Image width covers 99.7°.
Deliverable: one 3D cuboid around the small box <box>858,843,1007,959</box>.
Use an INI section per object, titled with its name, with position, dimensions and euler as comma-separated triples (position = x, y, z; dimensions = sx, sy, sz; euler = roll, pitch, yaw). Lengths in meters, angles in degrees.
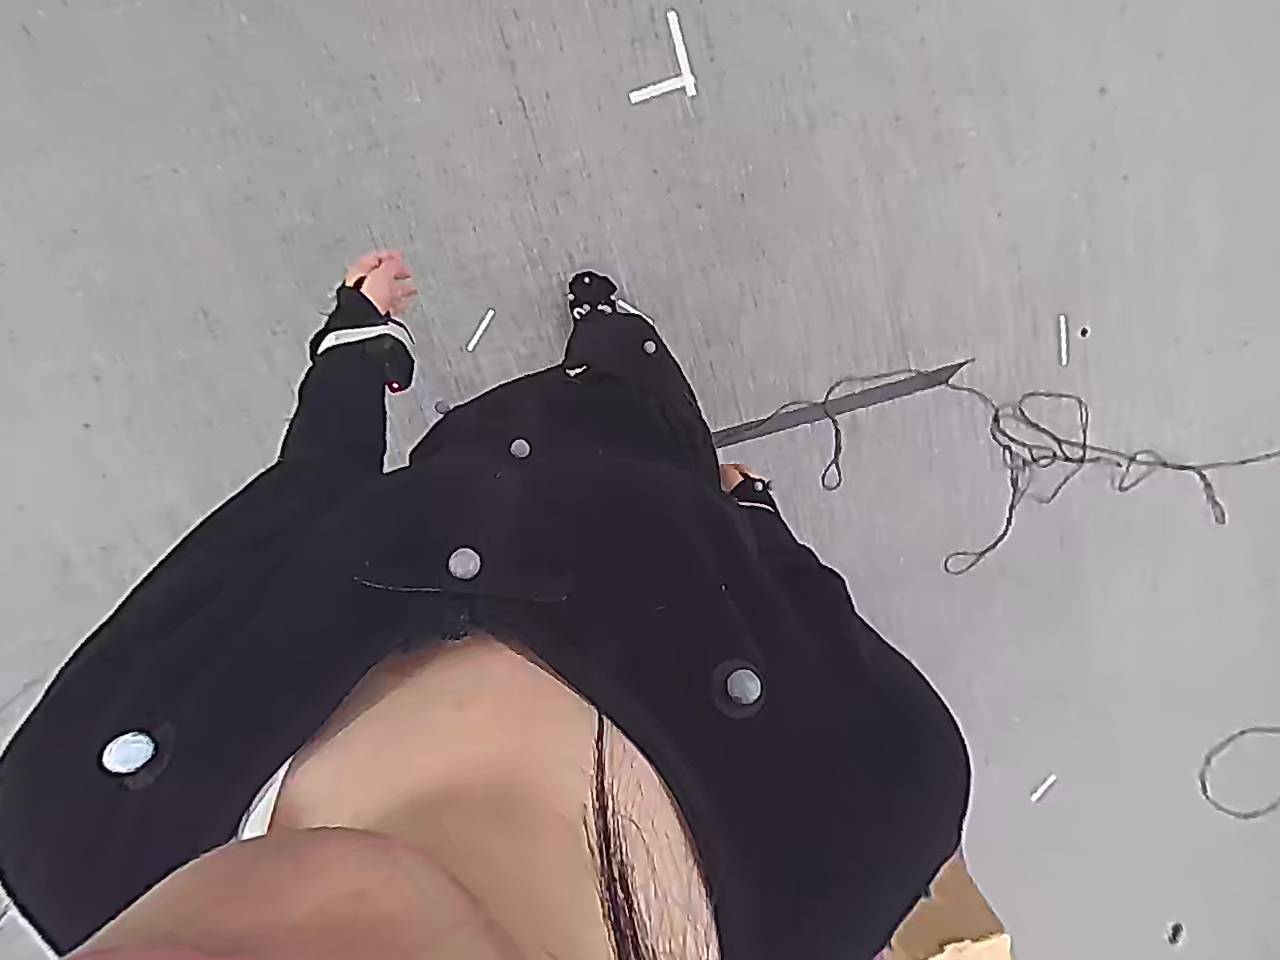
[small box]
position = 0.498, 0.769, 0.935
dimensions = 0.168, 0.176, 0.179
euler = -15, 106, -1
